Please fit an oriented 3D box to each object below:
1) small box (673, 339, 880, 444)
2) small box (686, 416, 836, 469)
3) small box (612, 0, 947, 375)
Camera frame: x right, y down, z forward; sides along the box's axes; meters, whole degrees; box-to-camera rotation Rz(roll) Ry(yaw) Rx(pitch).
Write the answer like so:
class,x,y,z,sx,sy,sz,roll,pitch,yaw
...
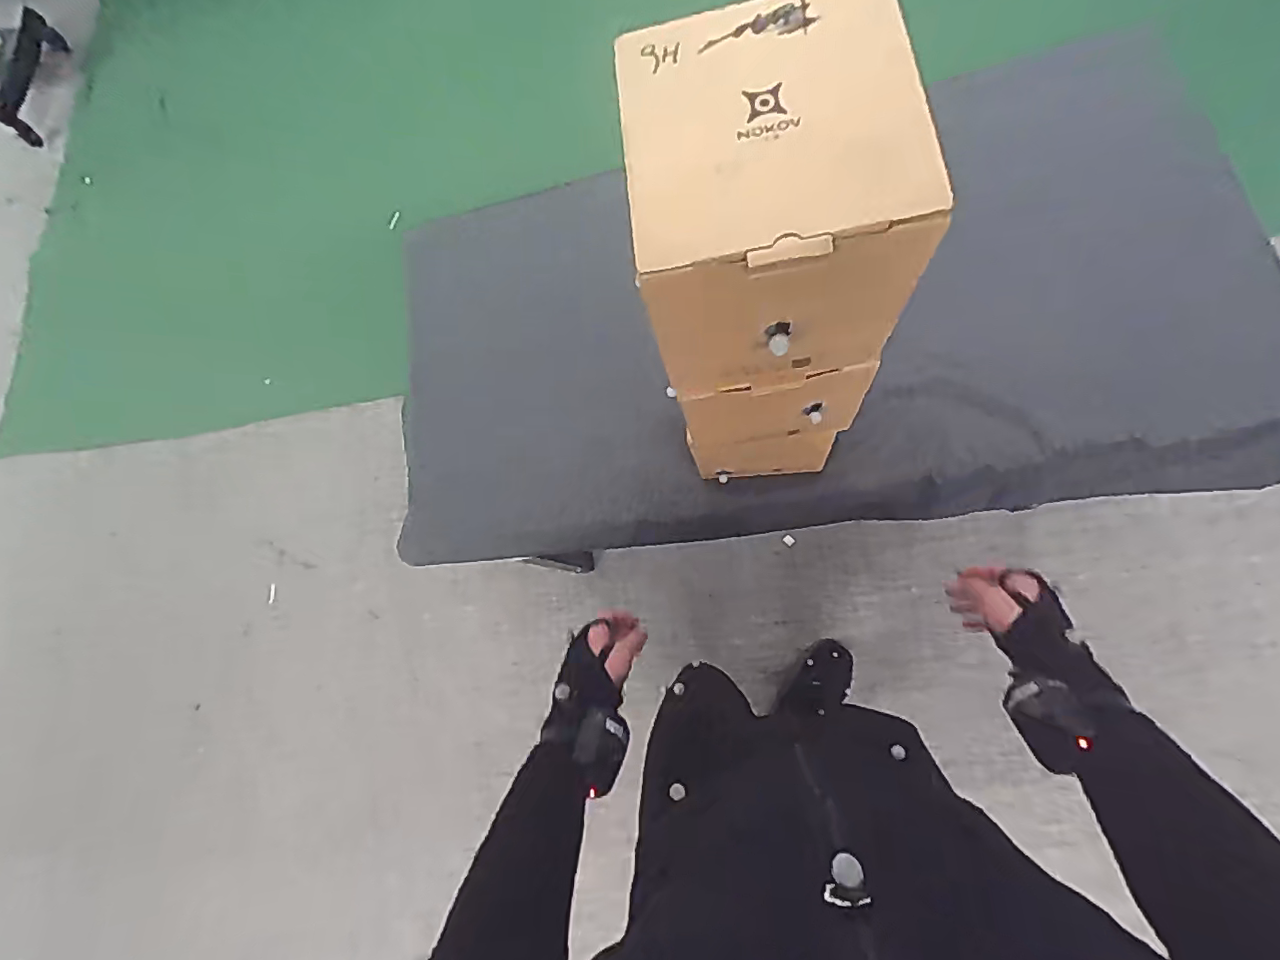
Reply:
class,x,y,z,sx,sy,sz,roll,pitch,yaw
small box,0.117,-0.144,0.533,0.168,0.176,0.179,-10,74,9
small box,0.150,-0.115,0.689,0.168,0.176,0.179,-4,75,12
small box,0.084,-0.185,0.378,0.168,0.176,0.179,-7,77,9
